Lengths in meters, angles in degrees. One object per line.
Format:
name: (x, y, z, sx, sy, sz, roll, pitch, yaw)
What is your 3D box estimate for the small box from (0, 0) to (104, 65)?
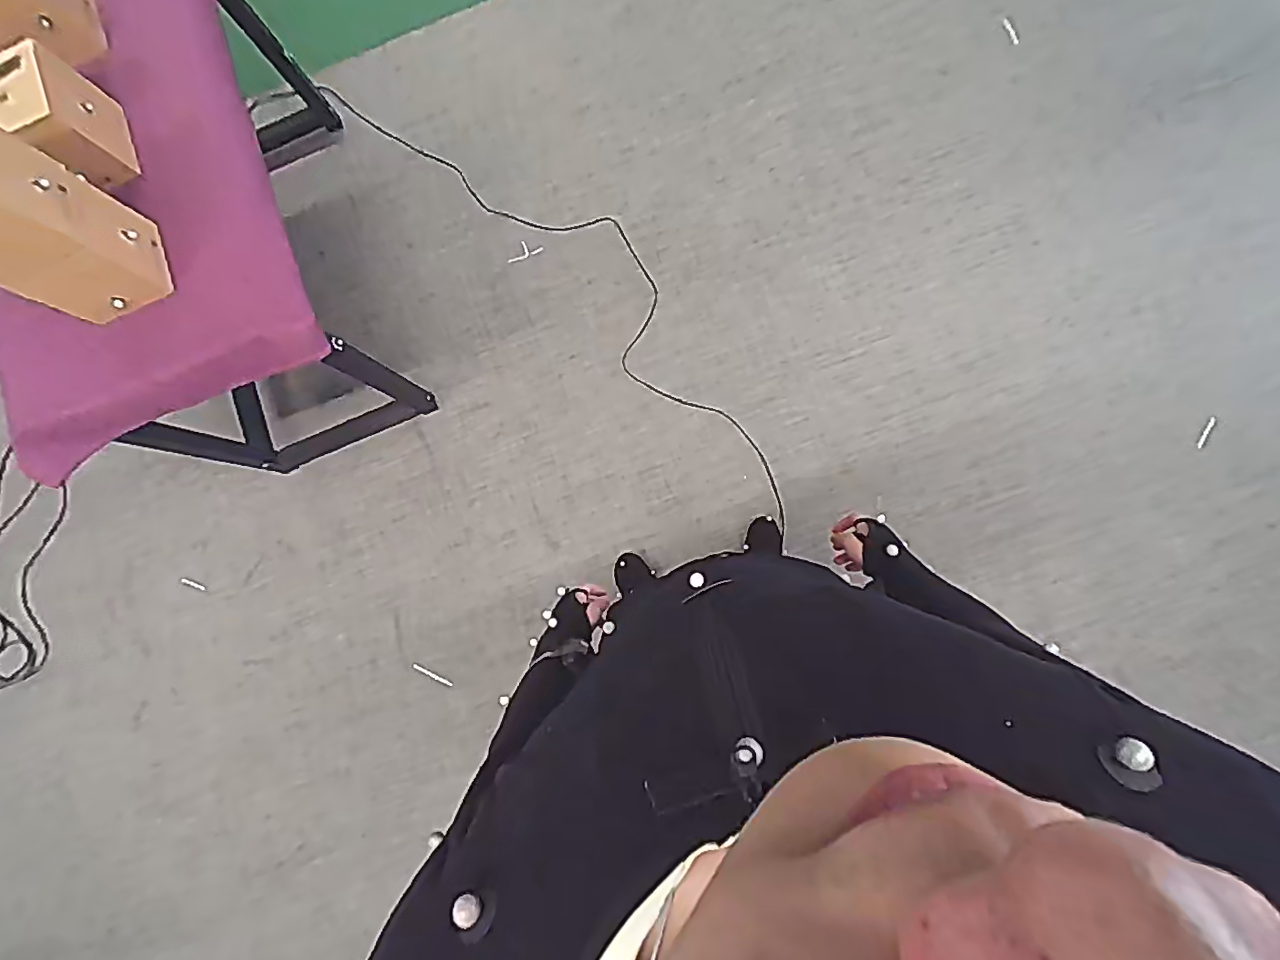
small box: (-1.271, -0.997, 1.119, 0.179, 0.176, 0.168, -21, 81, 3)

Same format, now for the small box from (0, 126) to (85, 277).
small box: (-1.066, -0.457, 0.864, 0.179, 0.176, 0.168, -22, 82, 2)

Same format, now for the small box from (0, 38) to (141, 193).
small box: (-1.155, -0.703, 1.070, 0.168, 0.176, 0.179, -22, 82, 2)

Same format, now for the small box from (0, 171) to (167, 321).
small box: (-1.052, -0.434, 1.026, 0.179, 0.176, 0.168, -22, 81, 2)
